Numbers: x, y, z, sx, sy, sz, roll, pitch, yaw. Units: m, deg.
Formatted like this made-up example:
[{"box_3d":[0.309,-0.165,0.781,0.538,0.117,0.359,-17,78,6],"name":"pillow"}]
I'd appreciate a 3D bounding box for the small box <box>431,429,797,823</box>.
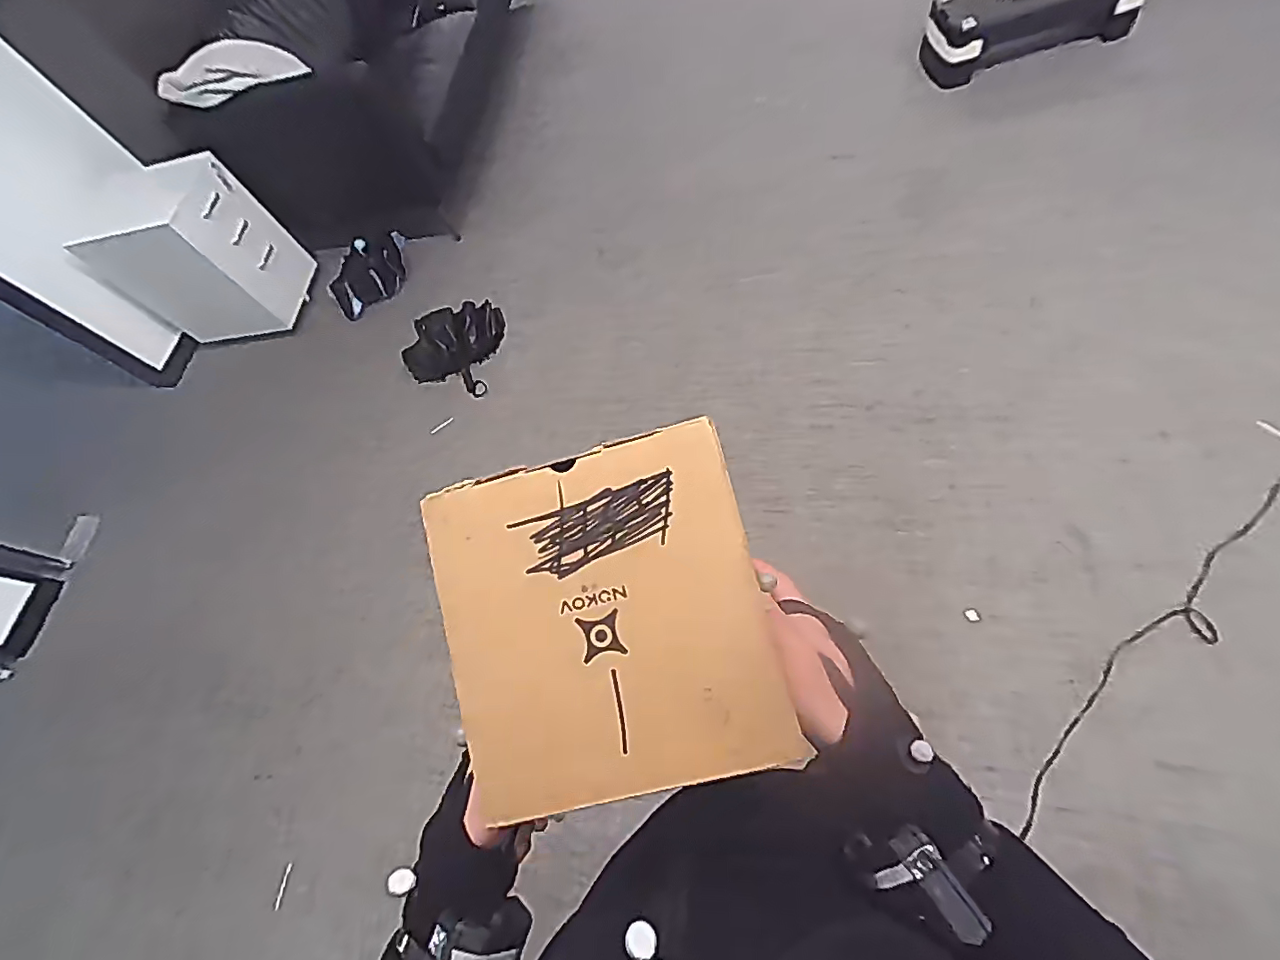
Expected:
[{"box_3d":[-0.011,0.084,0.359,0.168,0.176,0.179,-14,81,5],"name":"small box"}]
